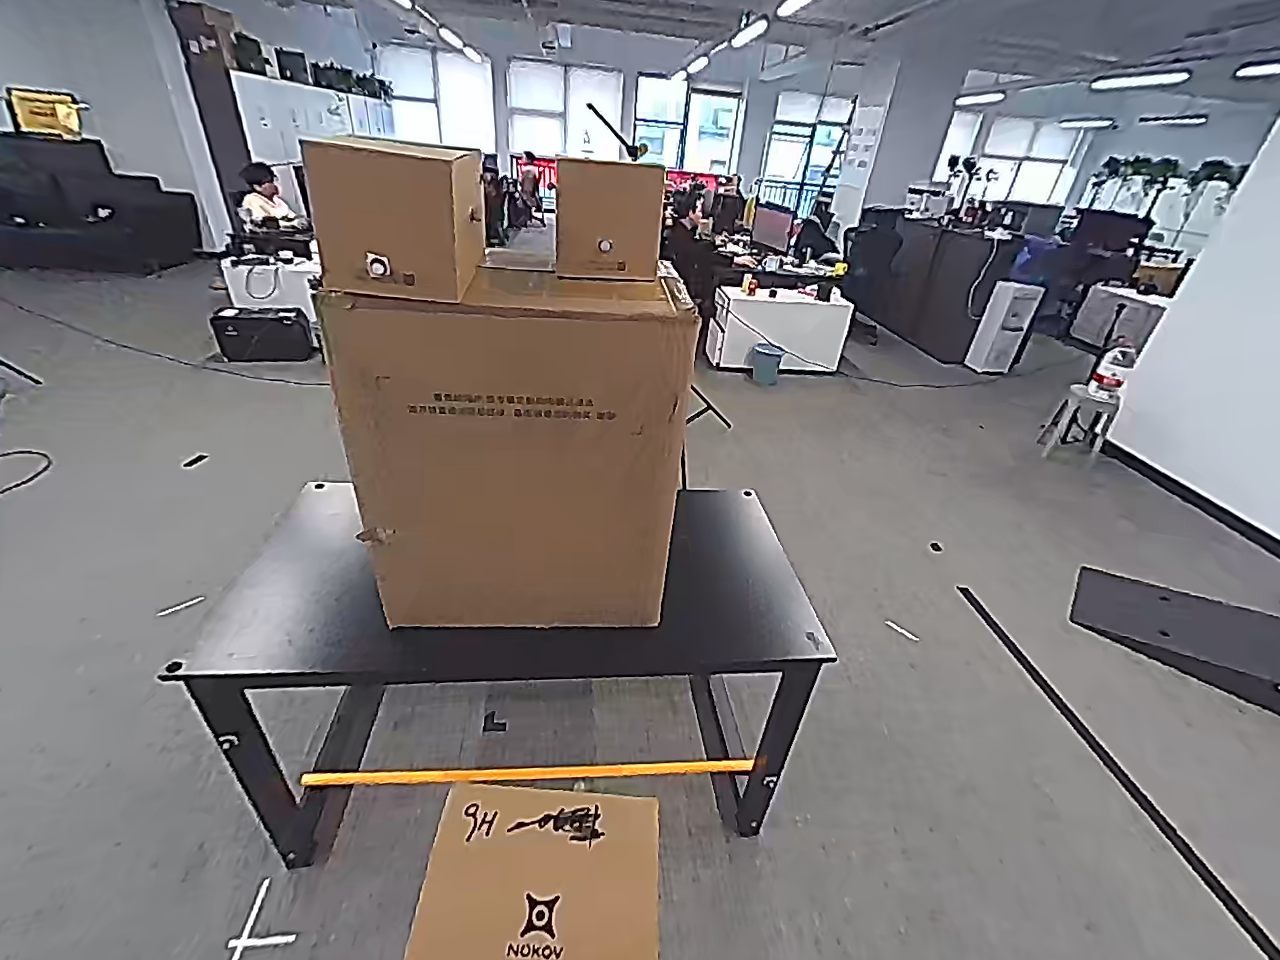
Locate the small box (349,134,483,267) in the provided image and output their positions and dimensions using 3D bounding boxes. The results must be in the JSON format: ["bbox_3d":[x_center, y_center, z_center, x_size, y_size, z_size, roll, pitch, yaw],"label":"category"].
[{"bbox_3d":[-0.356,-0.461,0.897,0.168,0.176,0.179,0,30,-9],"label":"small box"}]

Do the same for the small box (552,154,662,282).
[{"bbox_3d":[-0.063,-0.440,0.907,0.168,0.176,0.179,-1,31,-9],"label":"small box"}]
